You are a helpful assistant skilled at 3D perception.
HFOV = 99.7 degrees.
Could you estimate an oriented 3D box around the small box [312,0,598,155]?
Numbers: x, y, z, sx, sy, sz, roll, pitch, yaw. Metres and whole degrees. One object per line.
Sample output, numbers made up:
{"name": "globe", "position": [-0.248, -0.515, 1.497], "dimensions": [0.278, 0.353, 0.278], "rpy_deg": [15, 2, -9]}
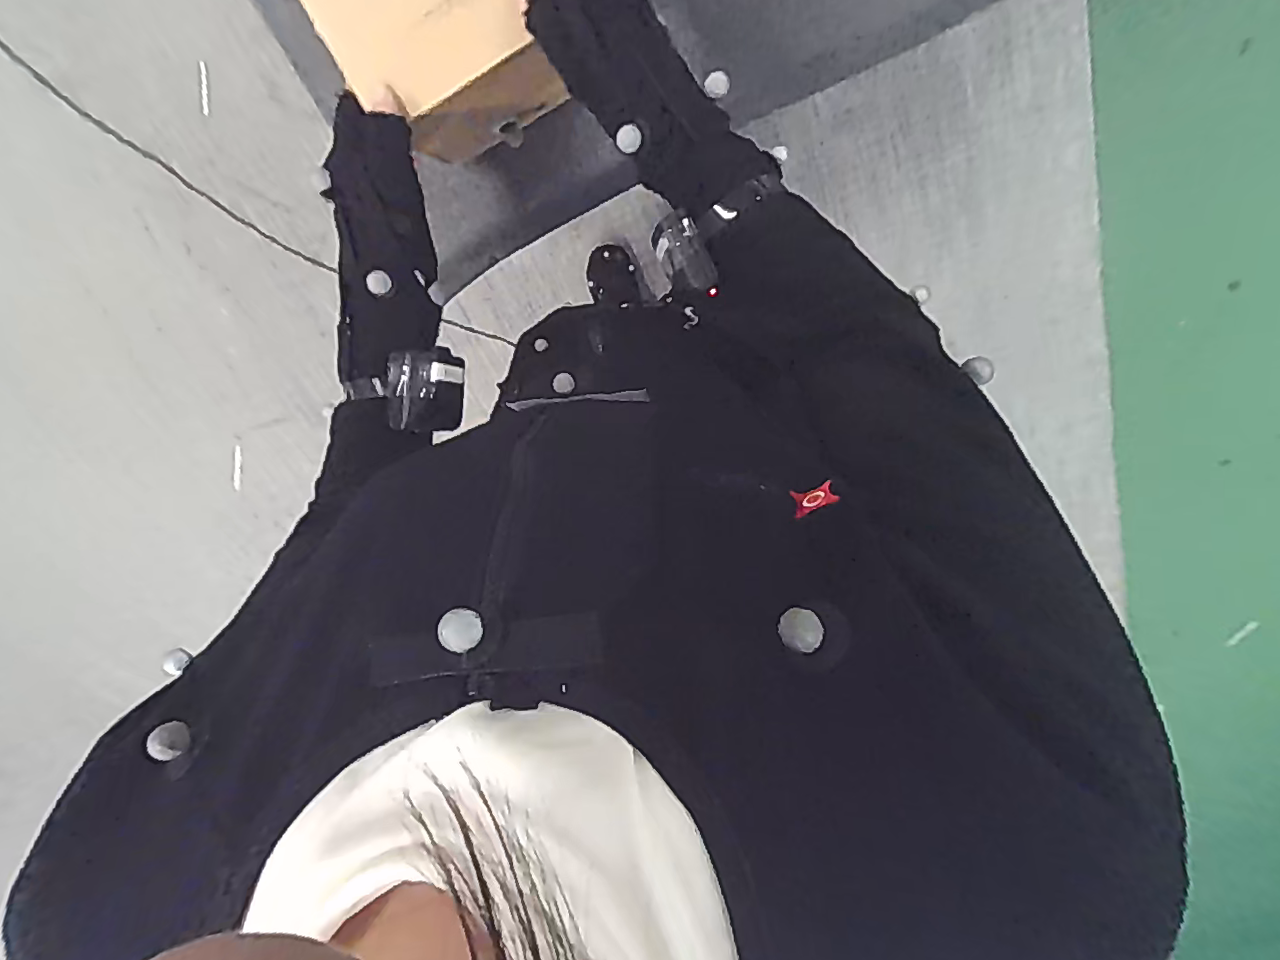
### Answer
{"name": "small box", "position": [-0.147, -0.389, 0.420], "dimensions": [0.168, 0.176, 0.179], "rpy_deg": [-25, 111, 13]}
